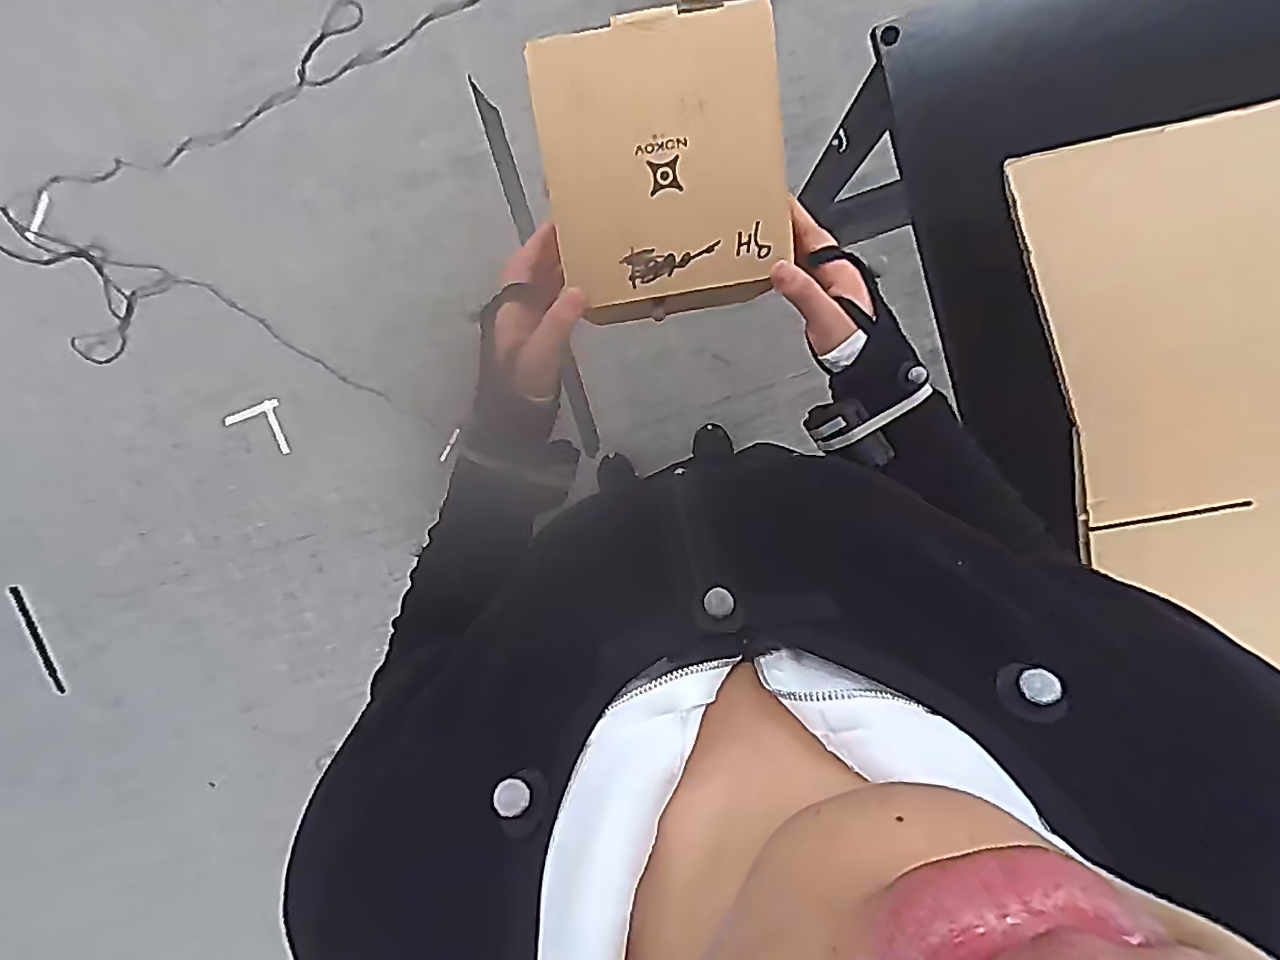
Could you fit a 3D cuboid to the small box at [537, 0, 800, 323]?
[{"bbox_3d":[0.023,-0.238,0.450,0.168,0.176,0.179,-8,101,3],"label":"small box"}]
